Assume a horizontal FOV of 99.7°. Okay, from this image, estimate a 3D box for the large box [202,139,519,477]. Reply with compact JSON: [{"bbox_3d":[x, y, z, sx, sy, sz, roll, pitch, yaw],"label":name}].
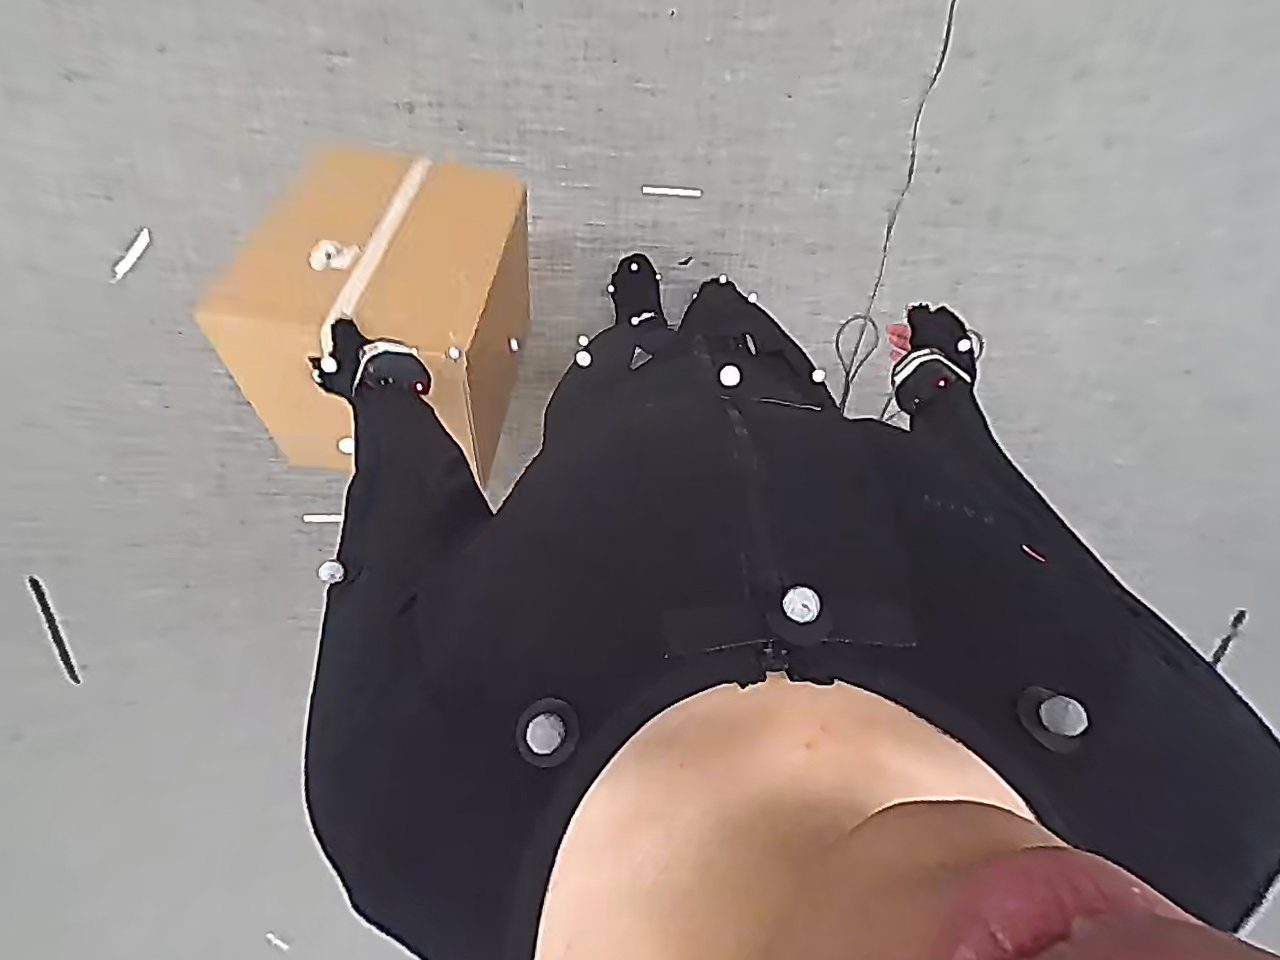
[{"bbox_3d":[-0.383,-0.266,0.879,0.320,0.408,0.320,7,149,-5],"label":"large box"}]
